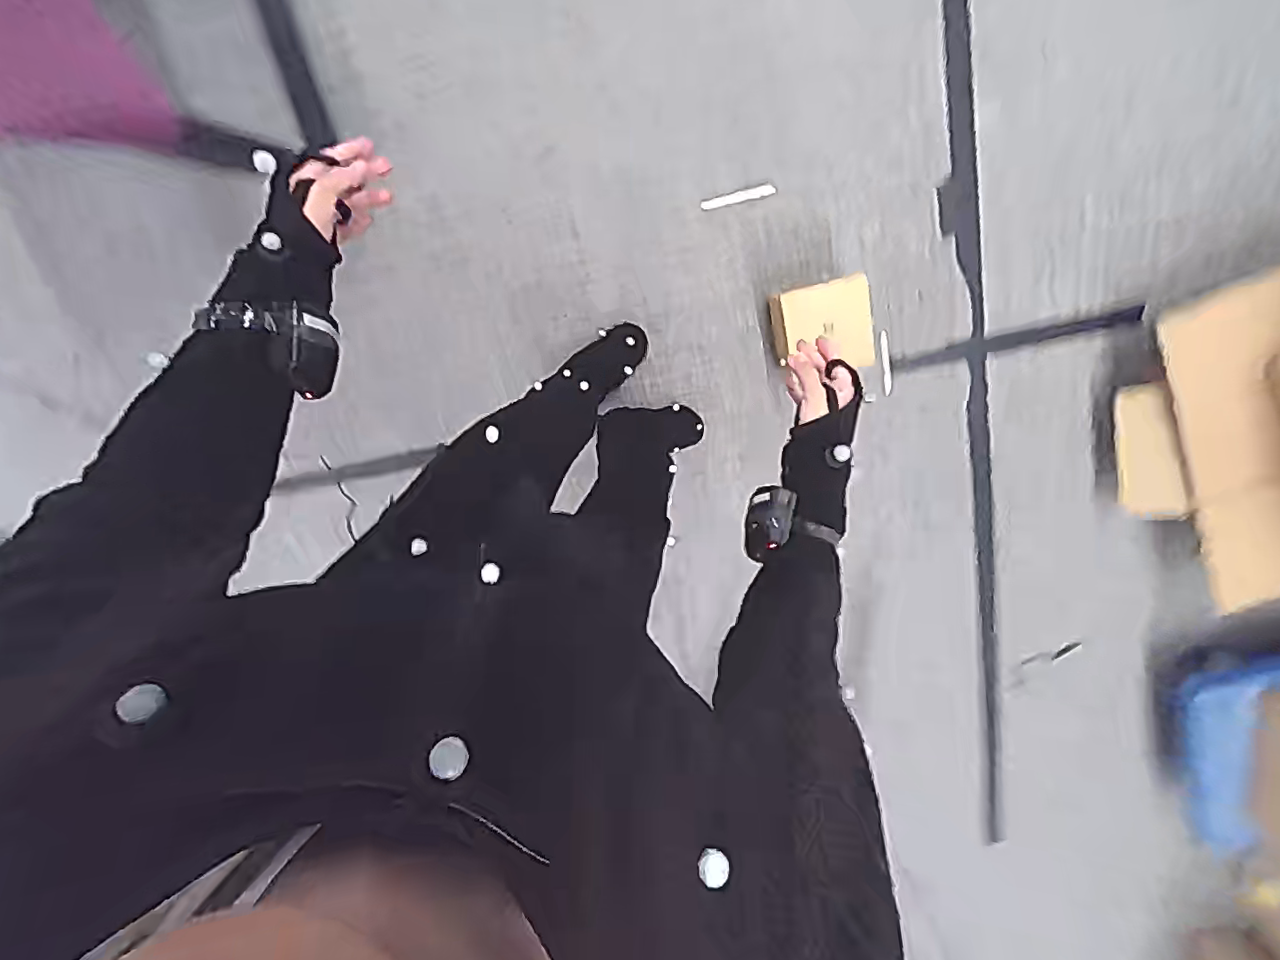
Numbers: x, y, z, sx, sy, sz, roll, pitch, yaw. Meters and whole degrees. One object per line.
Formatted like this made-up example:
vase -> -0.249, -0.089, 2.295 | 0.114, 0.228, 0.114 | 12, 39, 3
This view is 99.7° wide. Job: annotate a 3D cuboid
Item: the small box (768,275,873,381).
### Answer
small box -> 0.374, -0.323, 1.142 | 0.168, 0.176, 0.179 | -11, 110, 8
